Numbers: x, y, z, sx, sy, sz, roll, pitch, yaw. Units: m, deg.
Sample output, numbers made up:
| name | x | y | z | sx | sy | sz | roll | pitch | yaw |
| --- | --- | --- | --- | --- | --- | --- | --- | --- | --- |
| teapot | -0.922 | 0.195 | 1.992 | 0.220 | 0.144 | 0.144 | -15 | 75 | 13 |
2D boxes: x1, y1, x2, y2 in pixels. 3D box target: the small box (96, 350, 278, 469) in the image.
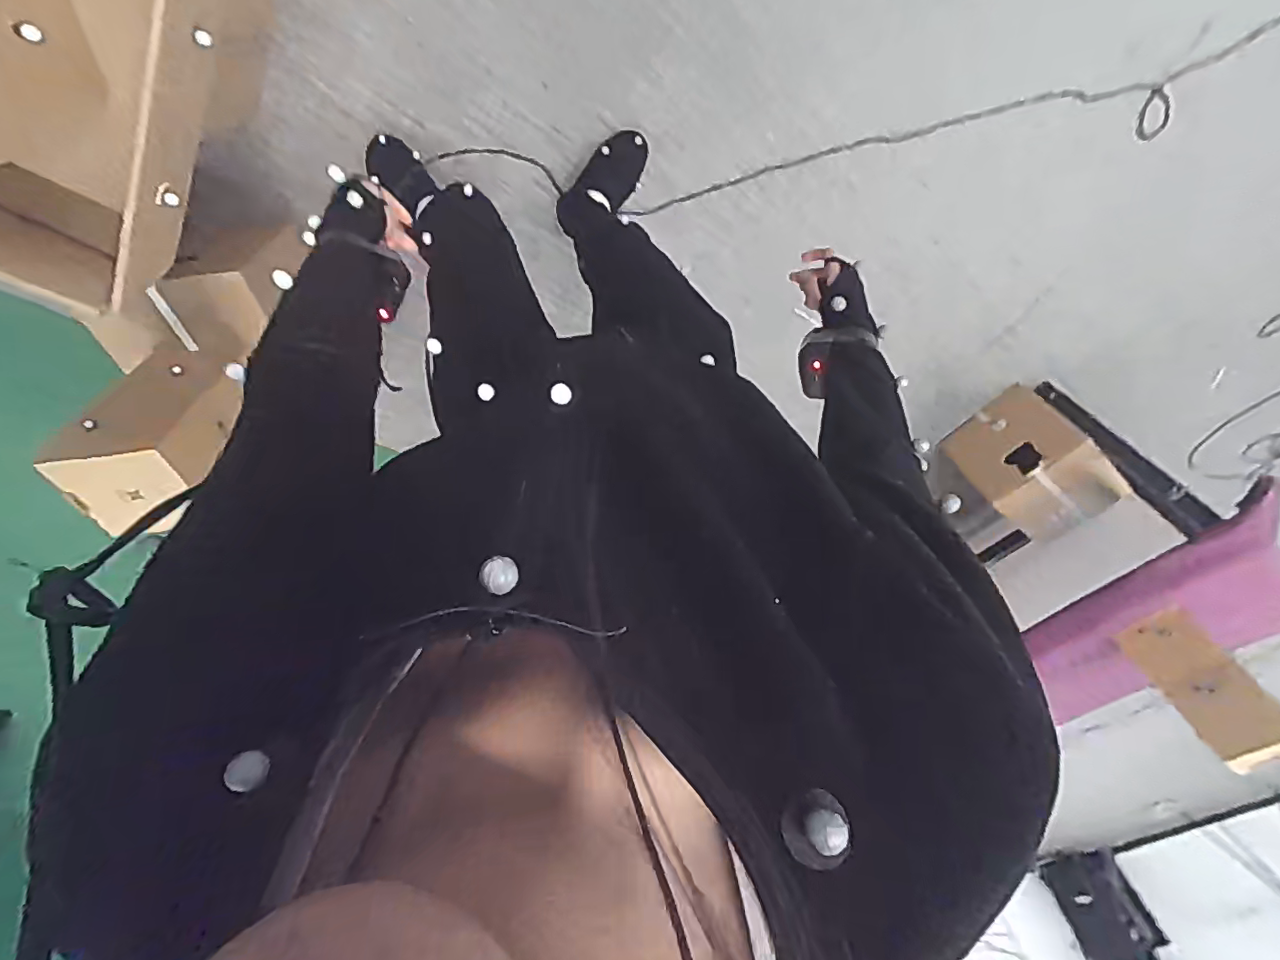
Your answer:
| name | x | y | z | sx | sy | sz | roll | pitch | yaw |
| --- | --- | --- | --- | --- | --- | --- | --- | --- | --- |
| small box | -0.830 | -0.130 | 1.016 | 0.179 | 0.176 | 0.168 | -6 | 132 | -6 |

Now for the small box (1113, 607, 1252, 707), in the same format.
| name | x | y | z | sx | sy | sz | roll | pitch | yaw |
| --- | --- | --- | --- | --- | --- | --- | --- | --- | --- |
| small box | 1.368 | 0.447 | 1.372 | 0.179 | 0.176 | 0.168 | 28 | 121 | -29 |

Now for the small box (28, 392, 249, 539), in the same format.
| name | x | y | z | sx | sy | sz | roll | pitch | yaw |
| --- | --- | --- | --- | --- | --- | --- | --- | --- | --- |
| small box | -0.802 | -0.027 | 0.892 | 0.179 | 0.176 | 0.168 | -8 | 133 | -4 |
